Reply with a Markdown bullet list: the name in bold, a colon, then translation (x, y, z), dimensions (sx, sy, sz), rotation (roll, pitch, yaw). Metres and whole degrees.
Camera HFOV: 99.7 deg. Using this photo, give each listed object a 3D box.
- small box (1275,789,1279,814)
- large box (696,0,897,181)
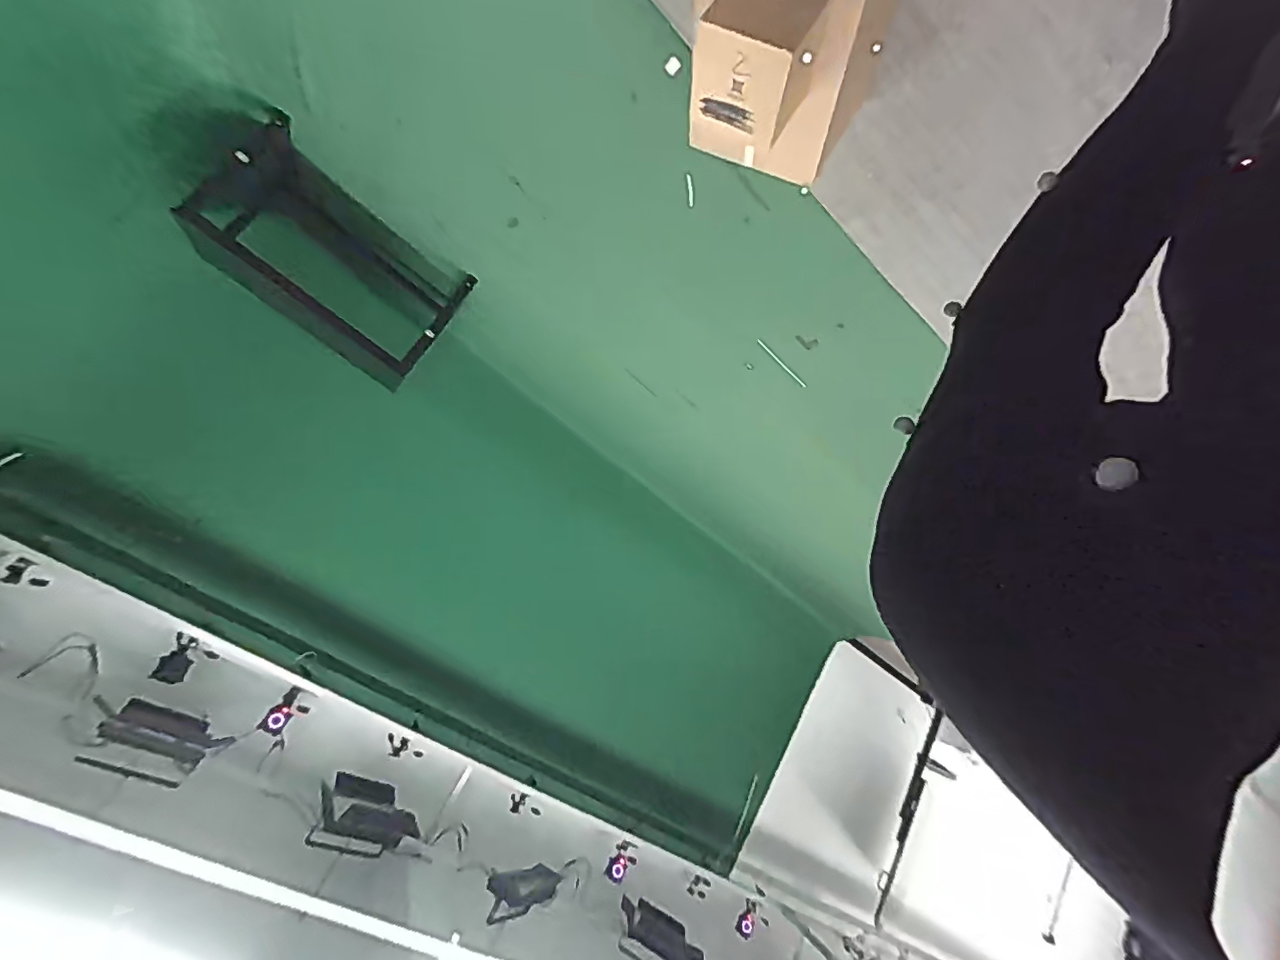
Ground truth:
- **small box**: translation (1.647, 0.755, 1.264), dimensions (0.179, 0.176, 0.168), rotation (36, 164, -20)
- **large box**: translation (0.320, -0.922, 1.089), dimensions (0.320, 0.320, 0.408), rotation (29, 165, 13)
